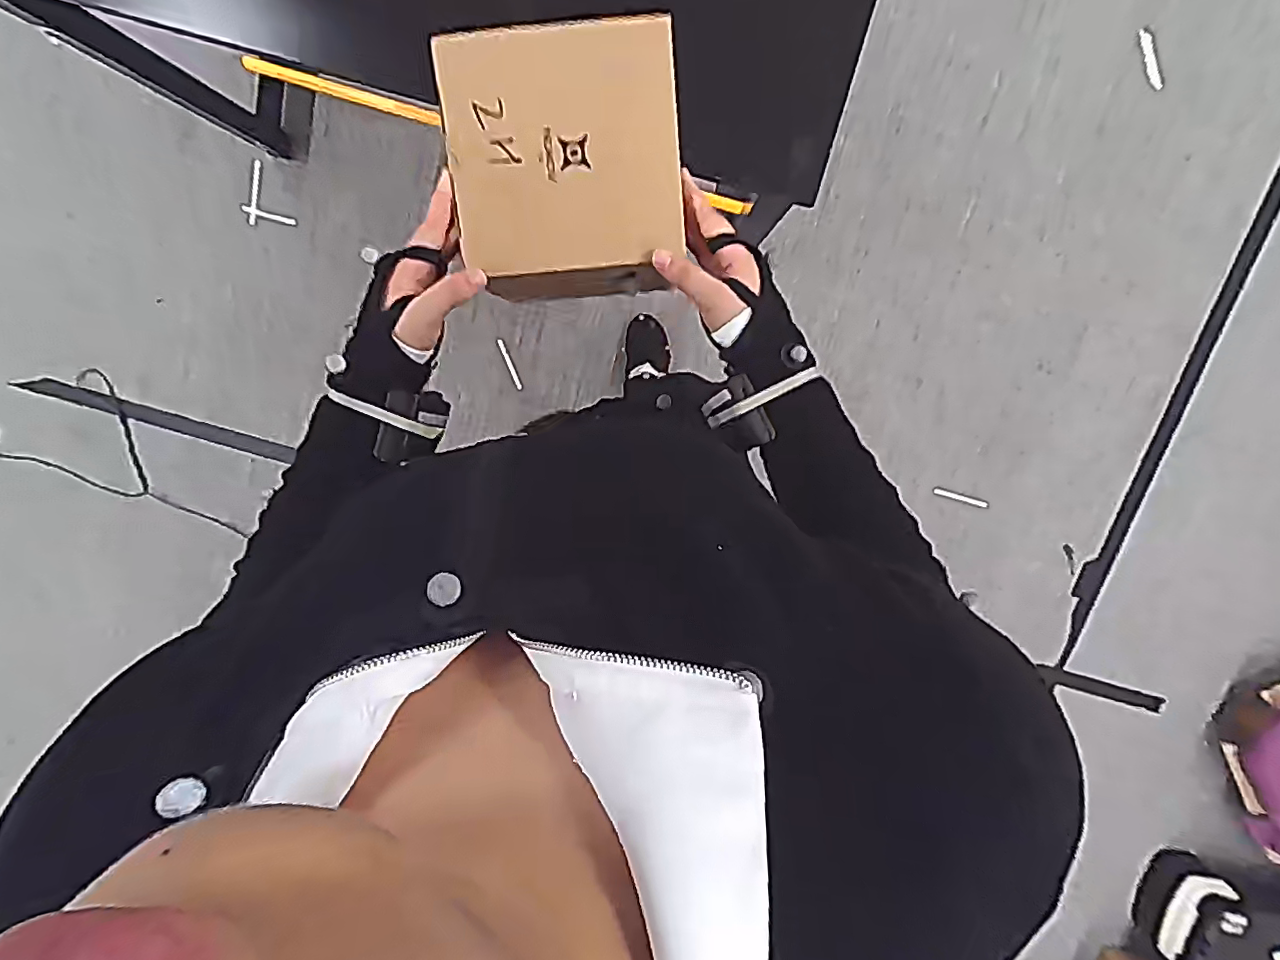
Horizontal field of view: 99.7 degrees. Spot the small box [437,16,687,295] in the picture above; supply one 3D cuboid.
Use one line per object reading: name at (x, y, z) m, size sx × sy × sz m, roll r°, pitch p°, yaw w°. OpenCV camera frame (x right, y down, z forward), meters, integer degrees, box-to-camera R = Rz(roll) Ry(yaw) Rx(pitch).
small box at (-0.057, -0.267, 0.485) m, size 0.179 × 0.176 × 0.168 m, roll -5°, pitch 101°, yaw 0°
